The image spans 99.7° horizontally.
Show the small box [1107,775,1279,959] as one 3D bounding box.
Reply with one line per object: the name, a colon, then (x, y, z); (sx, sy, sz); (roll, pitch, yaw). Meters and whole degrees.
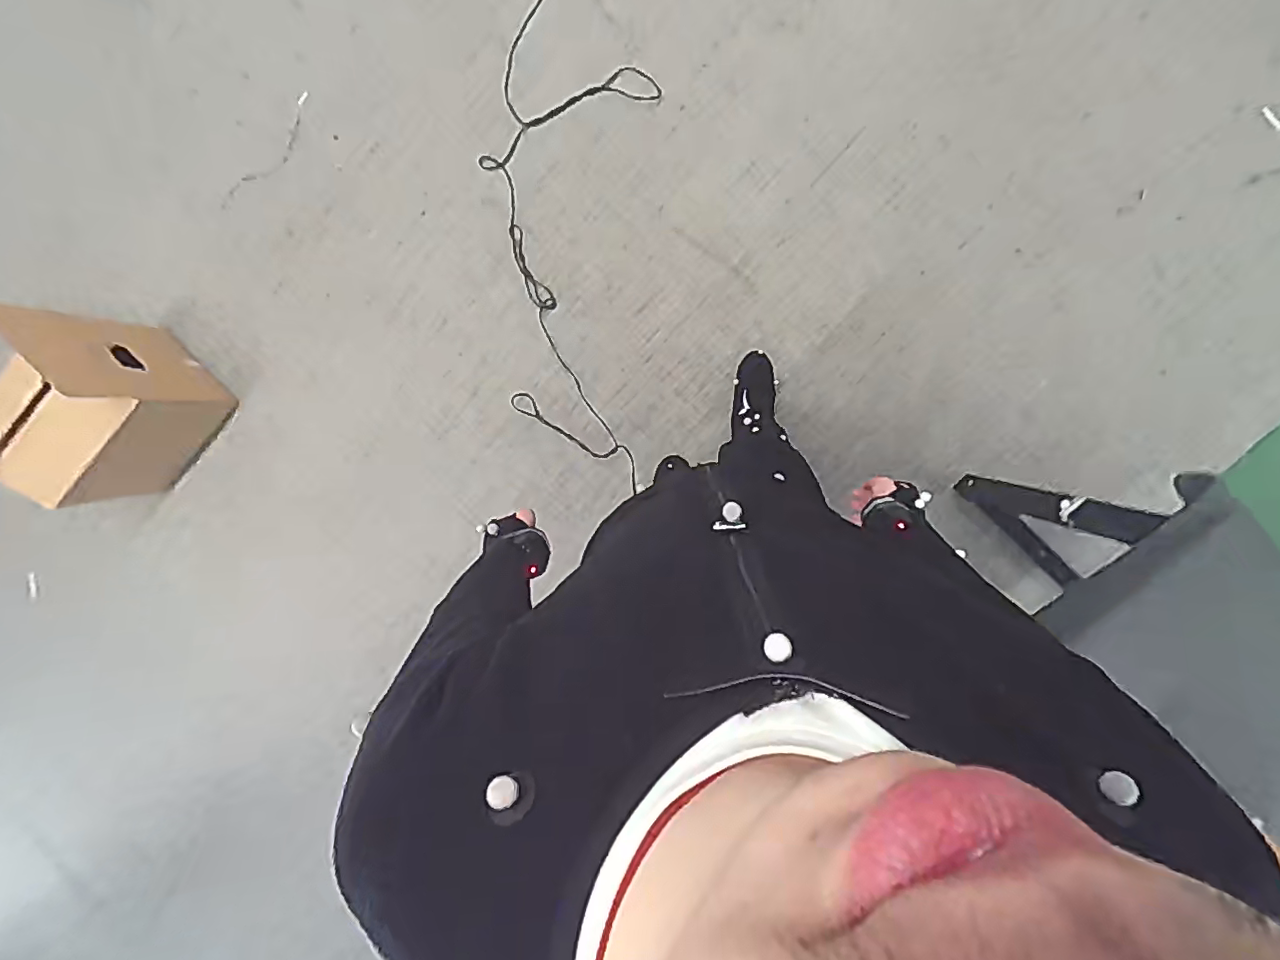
small box: (0.847, 0.567, 0.777); (0.179, 0.176, 0.168); (39, 97, -2)
